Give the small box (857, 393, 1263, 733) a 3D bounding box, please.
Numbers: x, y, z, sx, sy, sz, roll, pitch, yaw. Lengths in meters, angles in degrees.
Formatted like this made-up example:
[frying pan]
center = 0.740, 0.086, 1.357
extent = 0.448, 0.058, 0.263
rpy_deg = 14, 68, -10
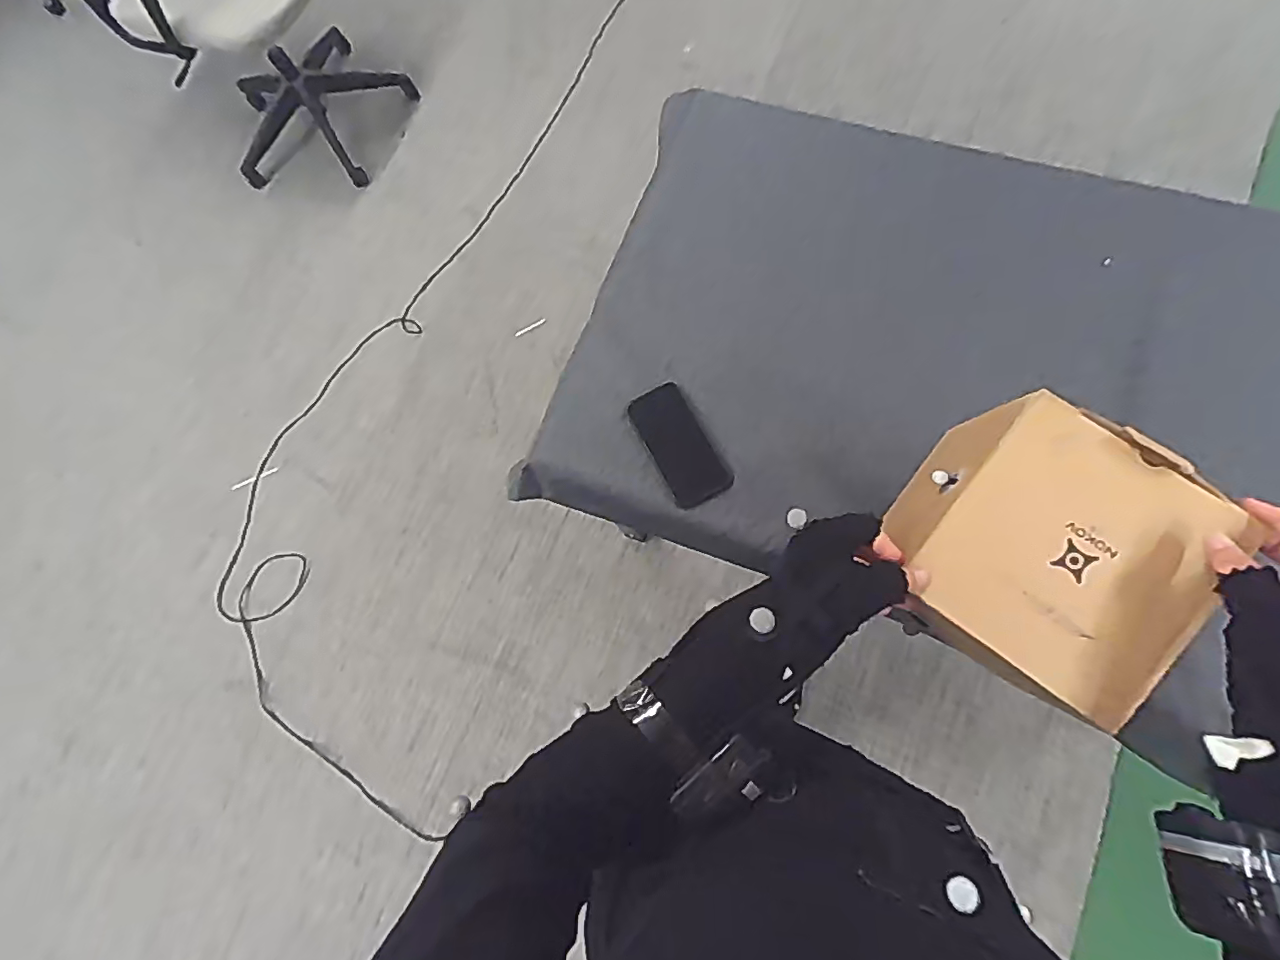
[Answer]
[small box]
center = 0.308, 0.060, 0.449
extent = 0.168, 0.176, 0.179
rpy_deg = 37, 92, 12
